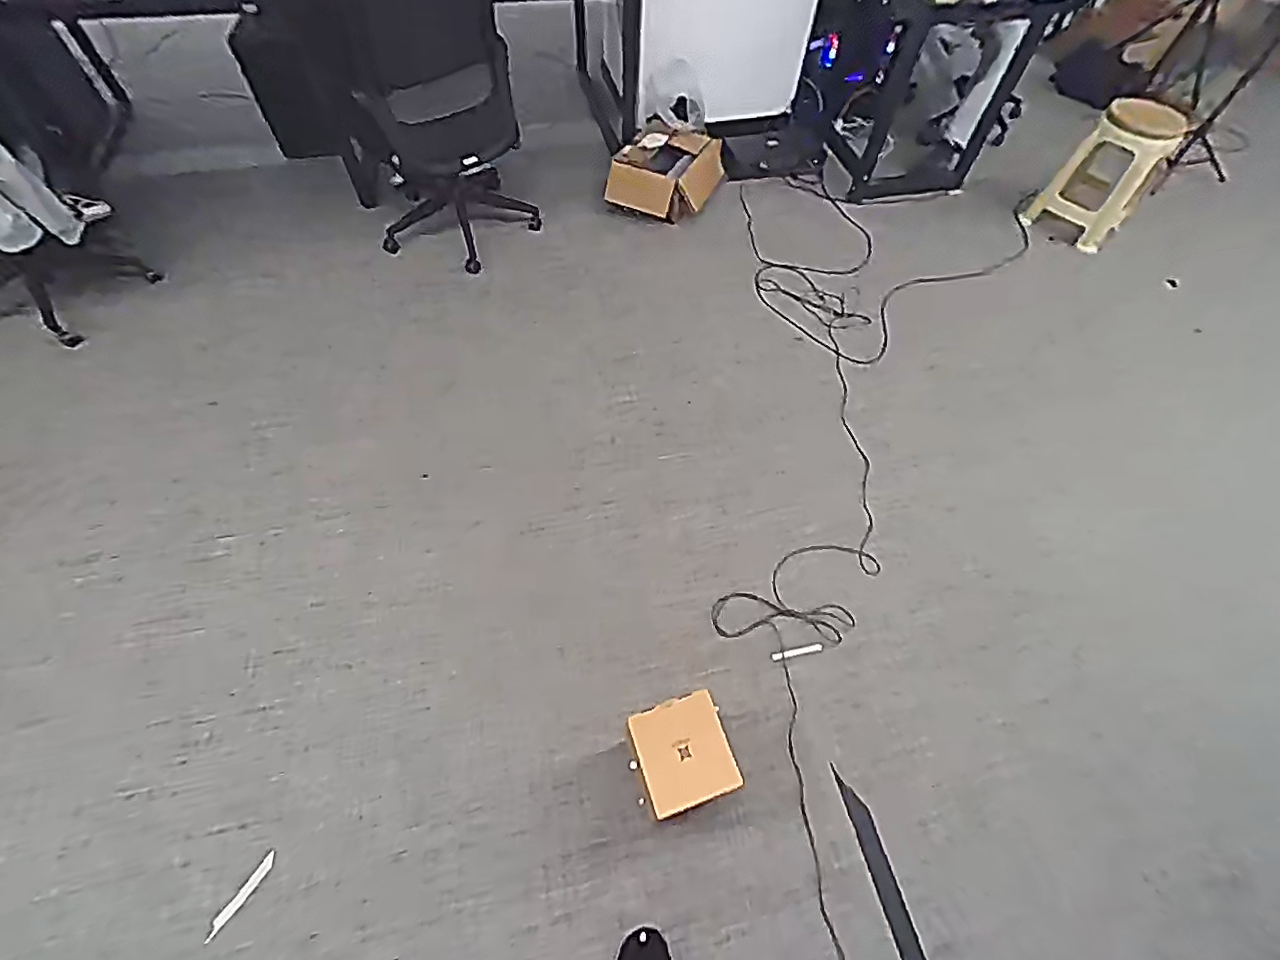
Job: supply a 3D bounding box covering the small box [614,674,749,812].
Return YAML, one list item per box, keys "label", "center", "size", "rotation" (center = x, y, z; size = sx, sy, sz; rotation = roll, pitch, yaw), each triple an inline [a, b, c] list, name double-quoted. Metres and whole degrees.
- label: "small box"
  center: [0.078, 0.496, 1.031]
  size: [0.179, 0.176, 0.168]
  rotation: [-30, 43, 1]
